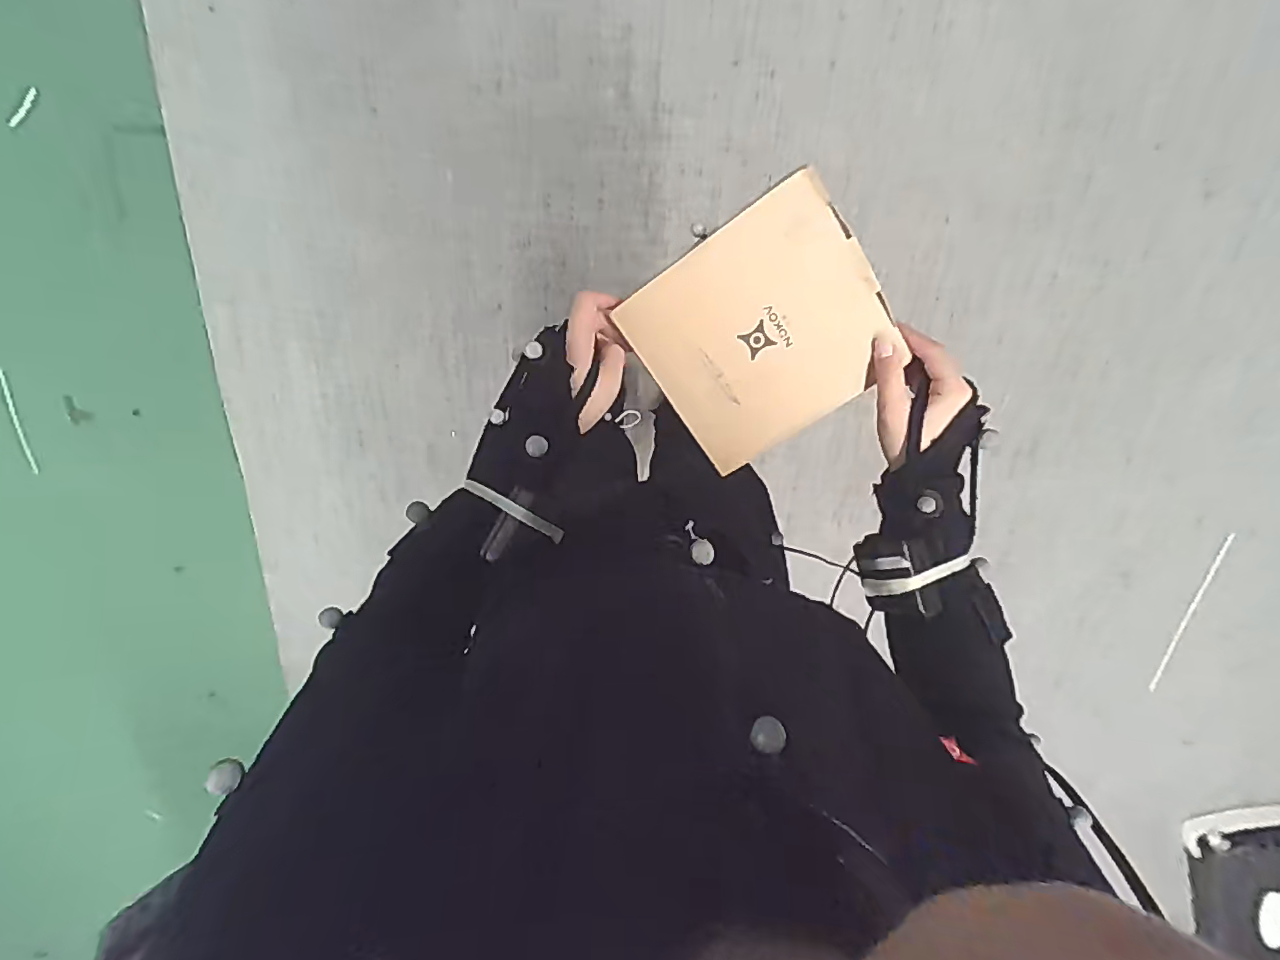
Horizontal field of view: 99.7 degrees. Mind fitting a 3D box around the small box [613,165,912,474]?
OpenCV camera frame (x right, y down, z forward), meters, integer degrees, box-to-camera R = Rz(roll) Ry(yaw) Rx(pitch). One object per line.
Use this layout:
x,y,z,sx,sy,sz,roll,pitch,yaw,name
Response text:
0.097,-0.141,0.485,0.179,0.176,0.168,-34,106,16,small box
